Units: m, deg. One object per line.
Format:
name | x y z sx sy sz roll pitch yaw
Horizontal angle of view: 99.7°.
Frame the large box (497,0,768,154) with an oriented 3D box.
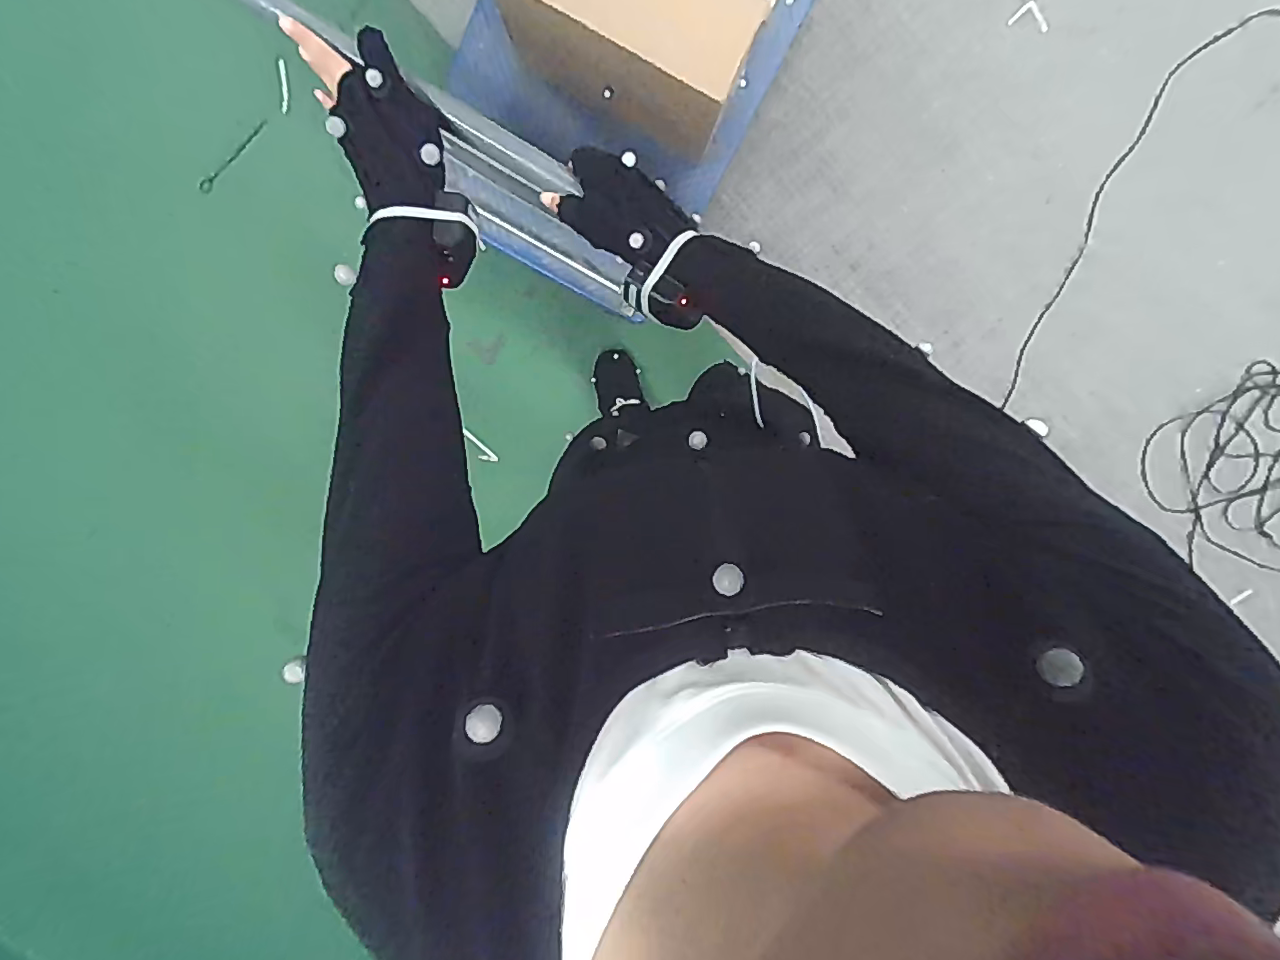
large box | 0.009 -0.849 0.936 0.408 0.320 0.320 25 102 -7
